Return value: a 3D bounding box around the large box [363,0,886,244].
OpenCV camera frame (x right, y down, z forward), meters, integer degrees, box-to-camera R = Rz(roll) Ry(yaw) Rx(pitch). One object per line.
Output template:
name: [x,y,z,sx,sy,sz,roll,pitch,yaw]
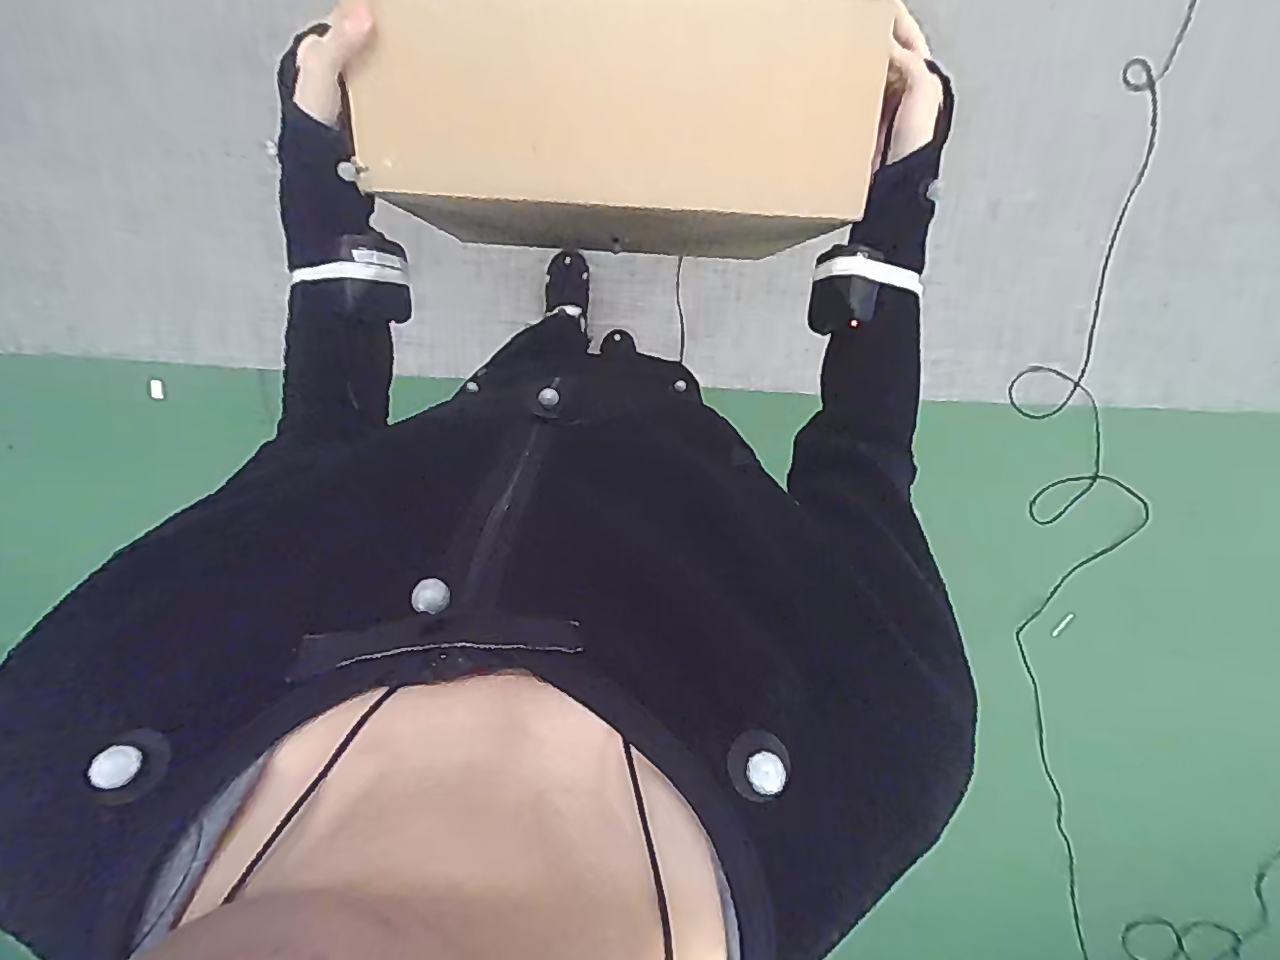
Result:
large box: [-0.012,-0.424,0.545,0.408,0.320,0.320,2,107,-4]
